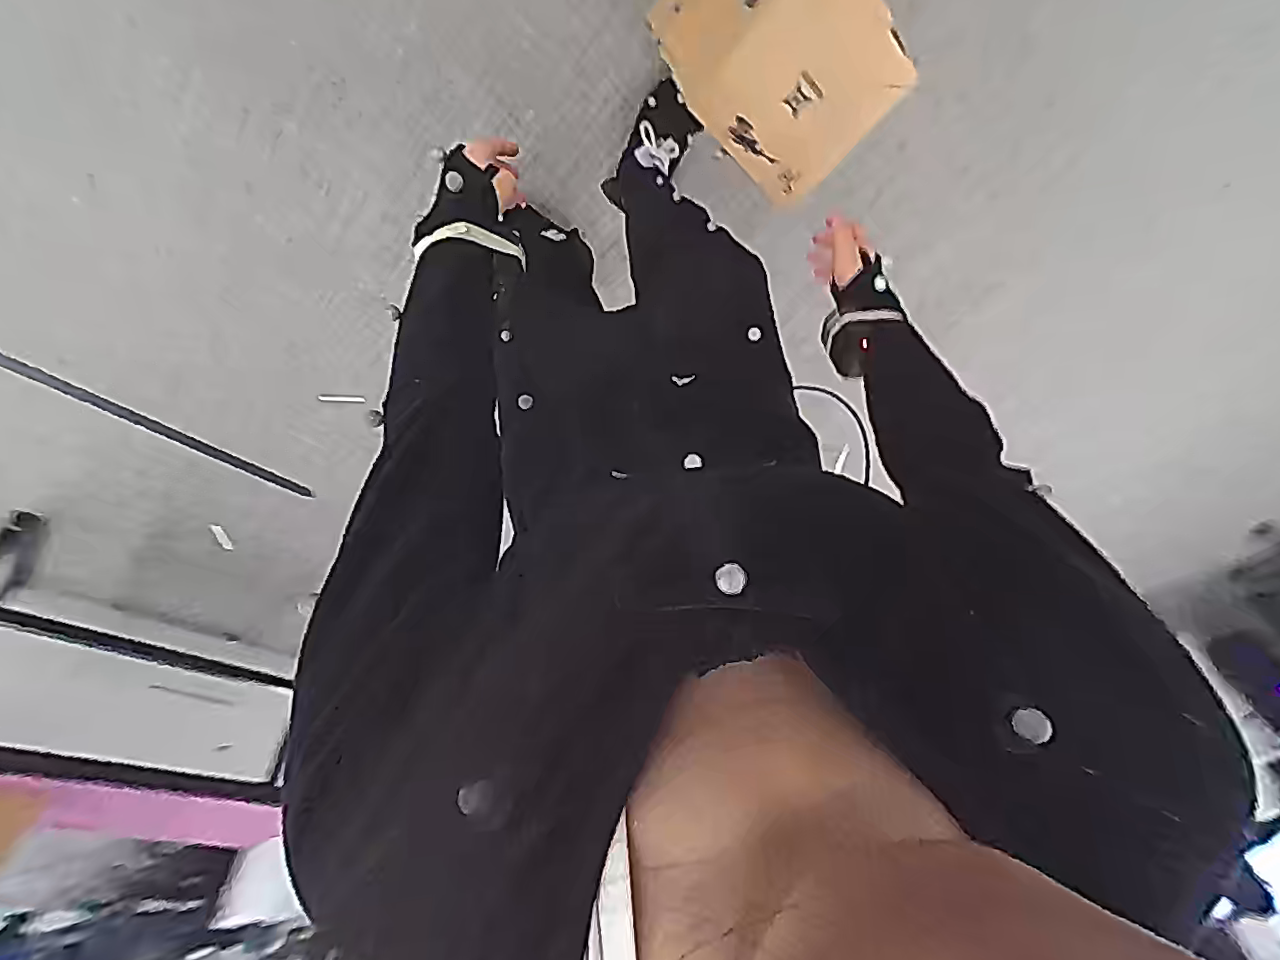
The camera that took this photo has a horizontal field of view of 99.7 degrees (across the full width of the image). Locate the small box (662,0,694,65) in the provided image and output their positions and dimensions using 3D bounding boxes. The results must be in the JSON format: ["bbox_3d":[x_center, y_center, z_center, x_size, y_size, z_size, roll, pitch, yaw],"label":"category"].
[{"bbox_3d":[0.147,-0.689,0.825,0.168,0.176,0.179,31,125,-32],"label":"small box"}]

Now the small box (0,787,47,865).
[{"bbox_3d":[-1.853,0.975,1.522,0.179,0.176,0.168,32,126,-32],"label":"small box"}]

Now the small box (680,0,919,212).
[{"bbox_3d":[0.162,-0.451,0.602,0.168,0.176,0.179,30,126,-31],"label":"small box"}]

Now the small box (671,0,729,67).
[{"bbox_3d":[0.161,-0.571,0.714,0.179,0.176,0.168,30,127,-31],"label":"small box"}]
